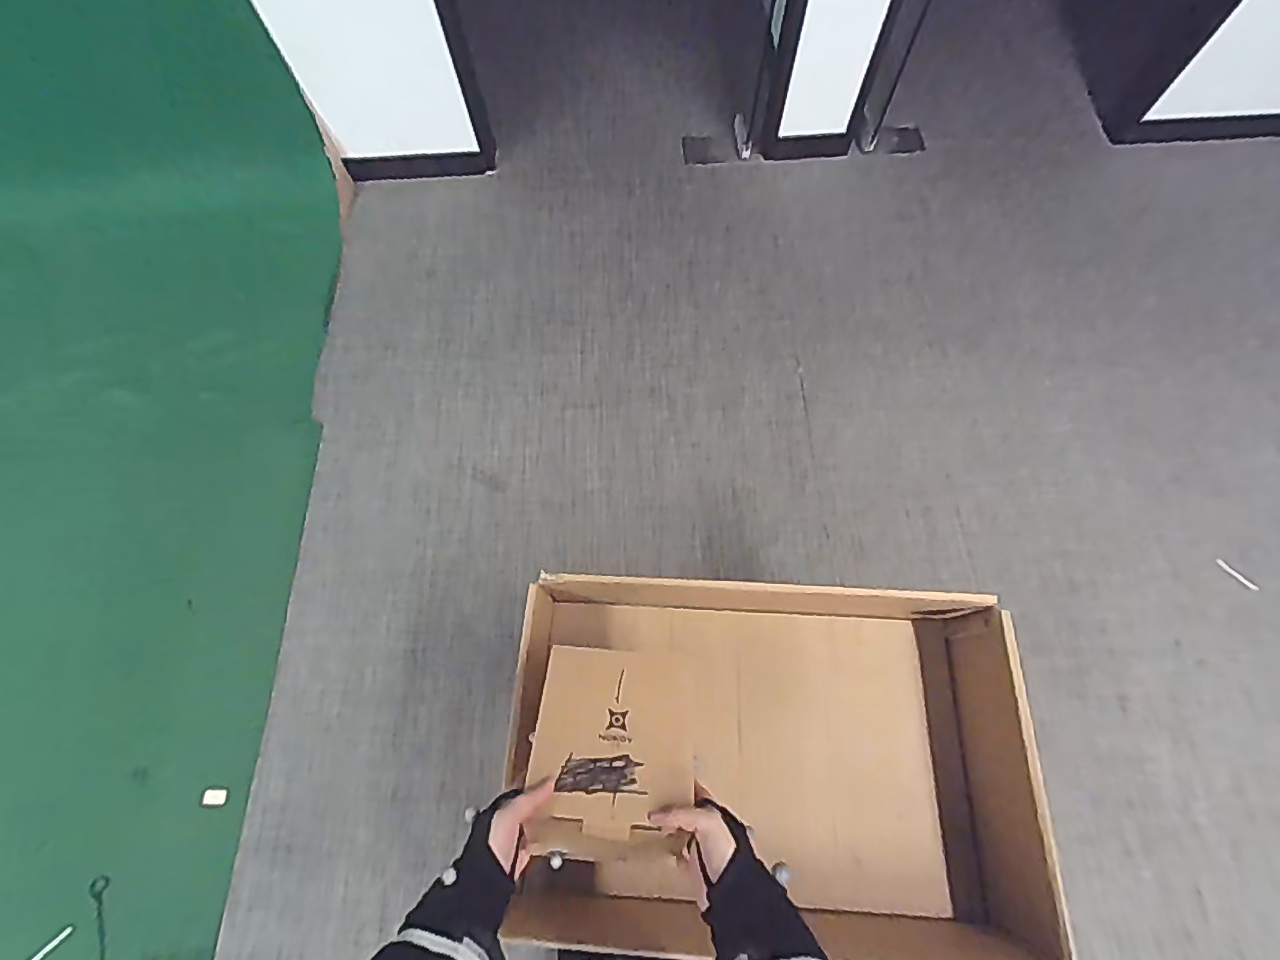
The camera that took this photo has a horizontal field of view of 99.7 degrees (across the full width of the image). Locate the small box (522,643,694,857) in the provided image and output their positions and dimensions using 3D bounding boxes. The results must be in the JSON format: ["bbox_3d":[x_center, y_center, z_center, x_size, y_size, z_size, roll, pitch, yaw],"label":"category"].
[{"bbox_3d":[-0.030,0.314,0.624,0.168,0.176,0.179,6,45,-1],"label":"small box"}]
